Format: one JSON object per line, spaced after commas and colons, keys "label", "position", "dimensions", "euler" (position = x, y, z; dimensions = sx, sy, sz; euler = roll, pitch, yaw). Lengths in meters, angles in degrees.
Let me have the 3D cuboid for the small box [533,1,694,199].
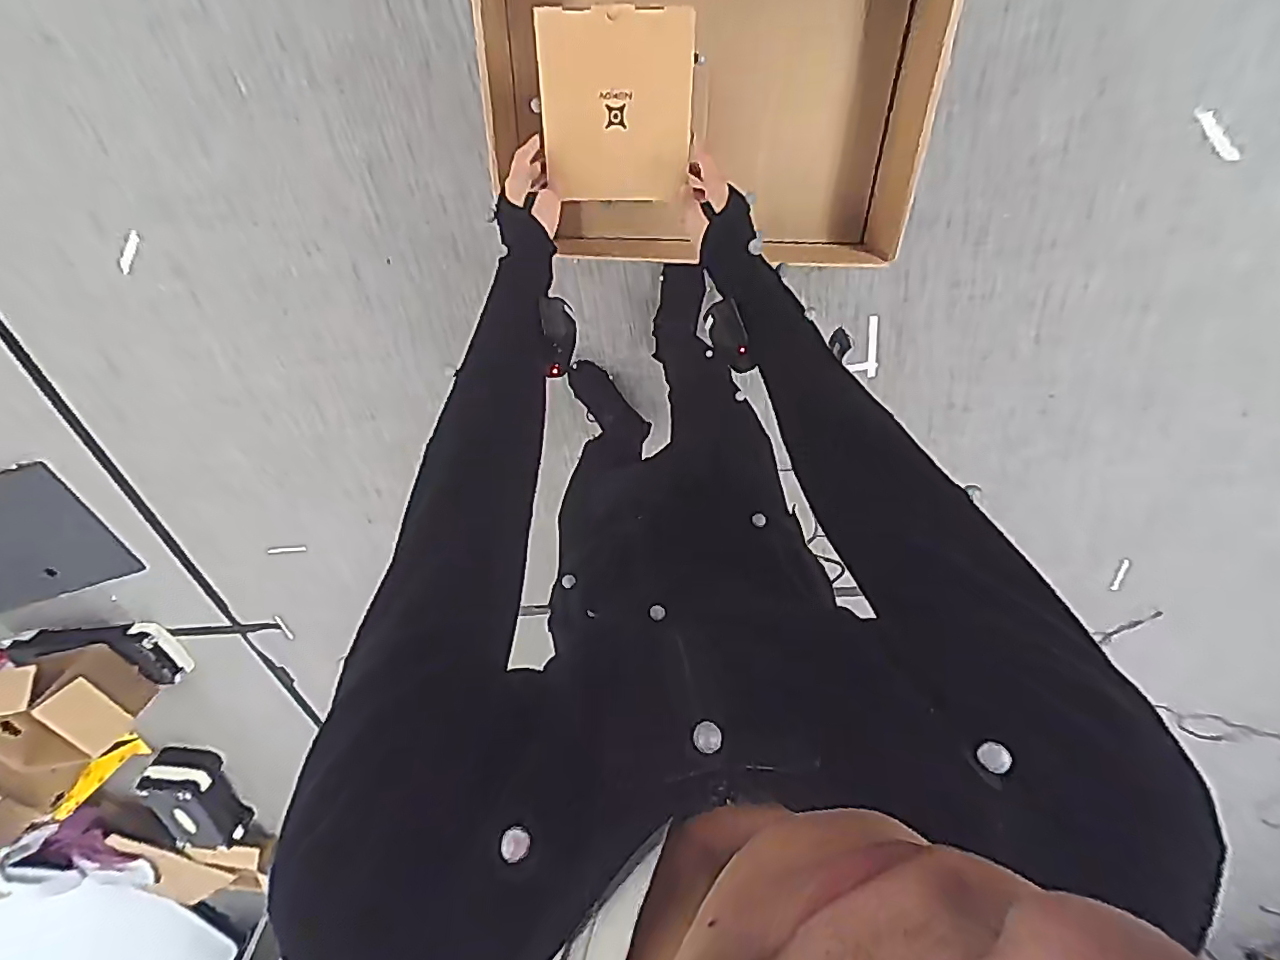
{"label": "small box", "position": [-0.022, -0.444, 0.651], "dimensions": [0.168, 0.176, 0.179], "euler": [1, 121, 3]}
